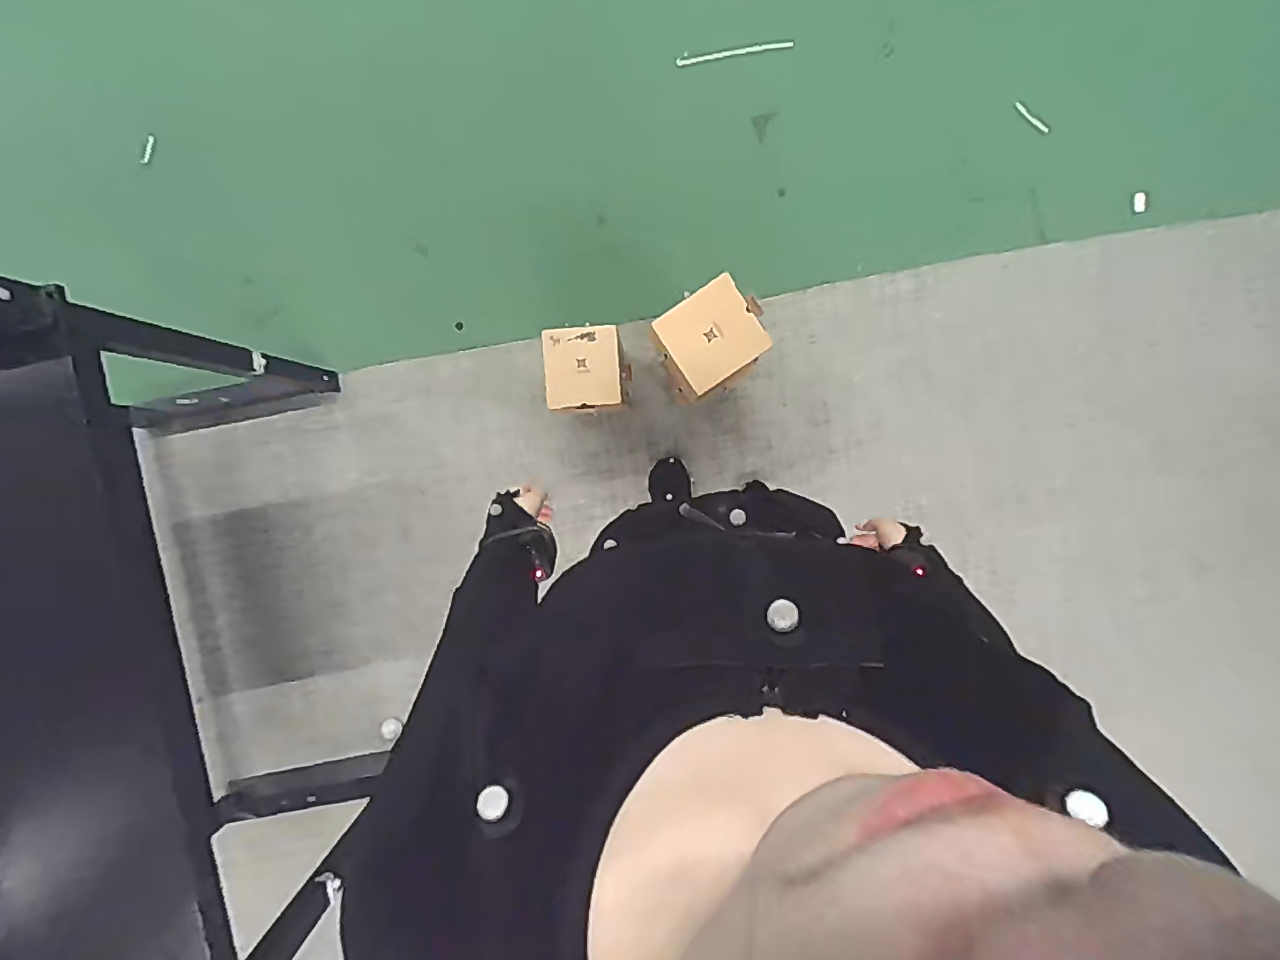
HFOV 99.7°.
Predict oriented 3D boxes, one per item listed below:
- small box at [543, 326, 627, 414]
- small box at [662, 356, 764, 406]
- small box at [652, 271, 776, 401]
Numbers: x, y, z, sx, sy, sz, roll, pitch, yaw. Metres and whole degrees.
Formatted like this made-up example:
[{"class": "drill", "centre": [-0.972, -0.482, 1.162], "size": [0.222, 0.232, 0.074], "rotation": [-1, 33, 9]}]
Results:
[{"class": "small box", "centre": [-0.119, -0.244, 1.239], "size": [0.168, 0.176, 0.179], "rotation": [-3, 93, 2]}, {"class": "small box", "centre": [0.156, -0.282, 1.237], "size": [0.179, 0.176, 0.168], "rotation": [-30, 94, 1]}, {"class": "small box", "centre": [0.139, -0.273, 1.074], "size": [0.179, 0.176, 0.168], "rotation": [-34, 93, 2]}]
